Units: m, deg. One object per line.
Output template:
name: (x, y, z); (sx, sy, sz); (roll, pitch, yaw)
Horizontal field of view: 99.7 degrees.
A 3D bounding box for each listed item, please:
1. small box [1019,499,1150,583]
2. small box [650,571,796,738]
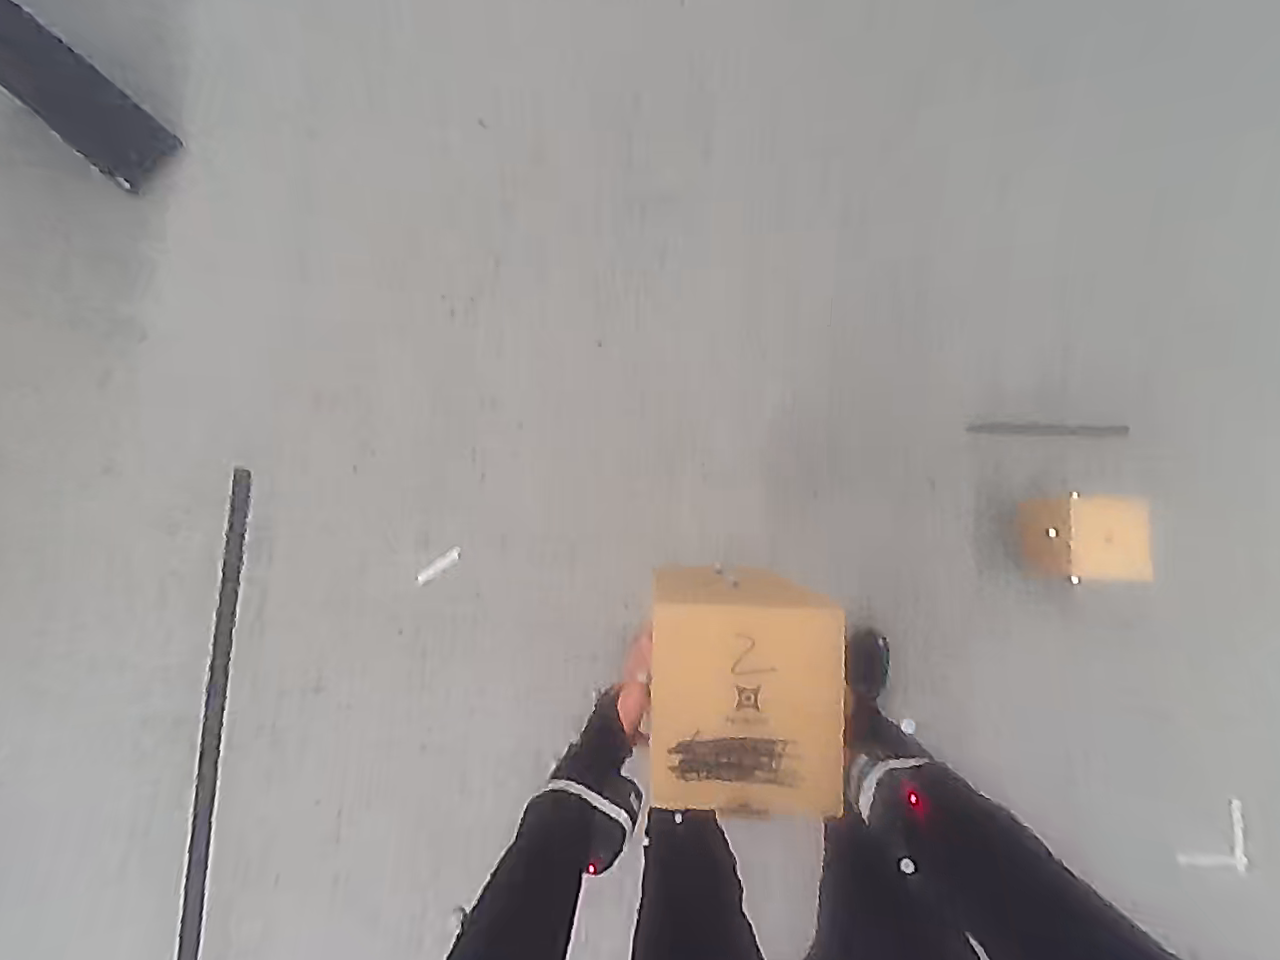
small box: (0.998, 0.136, 1.228); (0.168, 0.176, 0.179); (1, 84, 2)
small box: (0.097, 0.211, 0.698); (0.168, 0.176, 0.179); (0, 87, 1)
